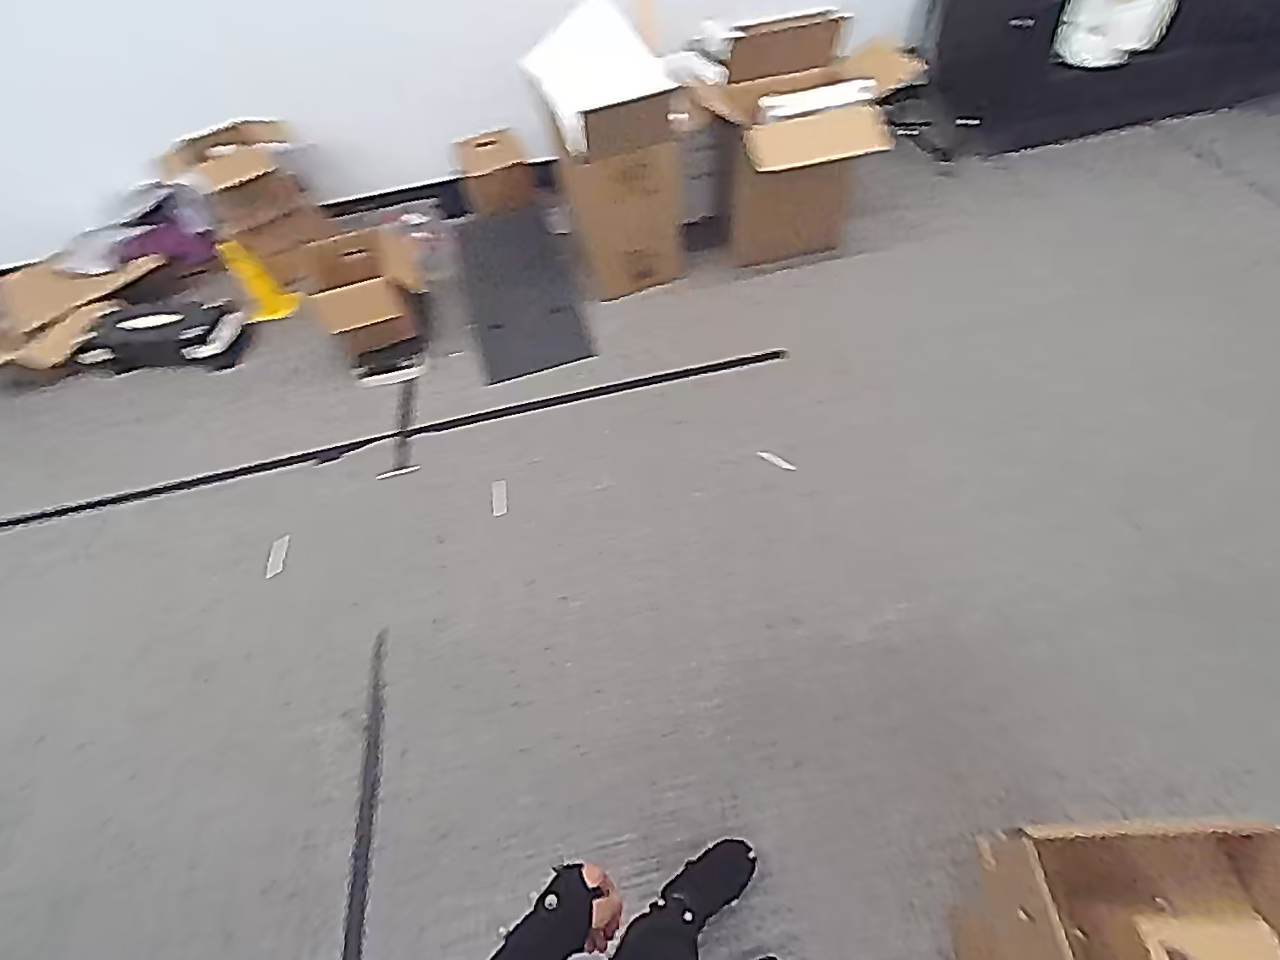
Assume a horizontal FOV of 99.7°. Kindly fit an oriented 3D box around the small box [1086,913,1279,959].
[{"bbox_3d":[0.774,0.717,0.752,0.179,0.176,0.168,-1,56,5],"label":"small box"}]
